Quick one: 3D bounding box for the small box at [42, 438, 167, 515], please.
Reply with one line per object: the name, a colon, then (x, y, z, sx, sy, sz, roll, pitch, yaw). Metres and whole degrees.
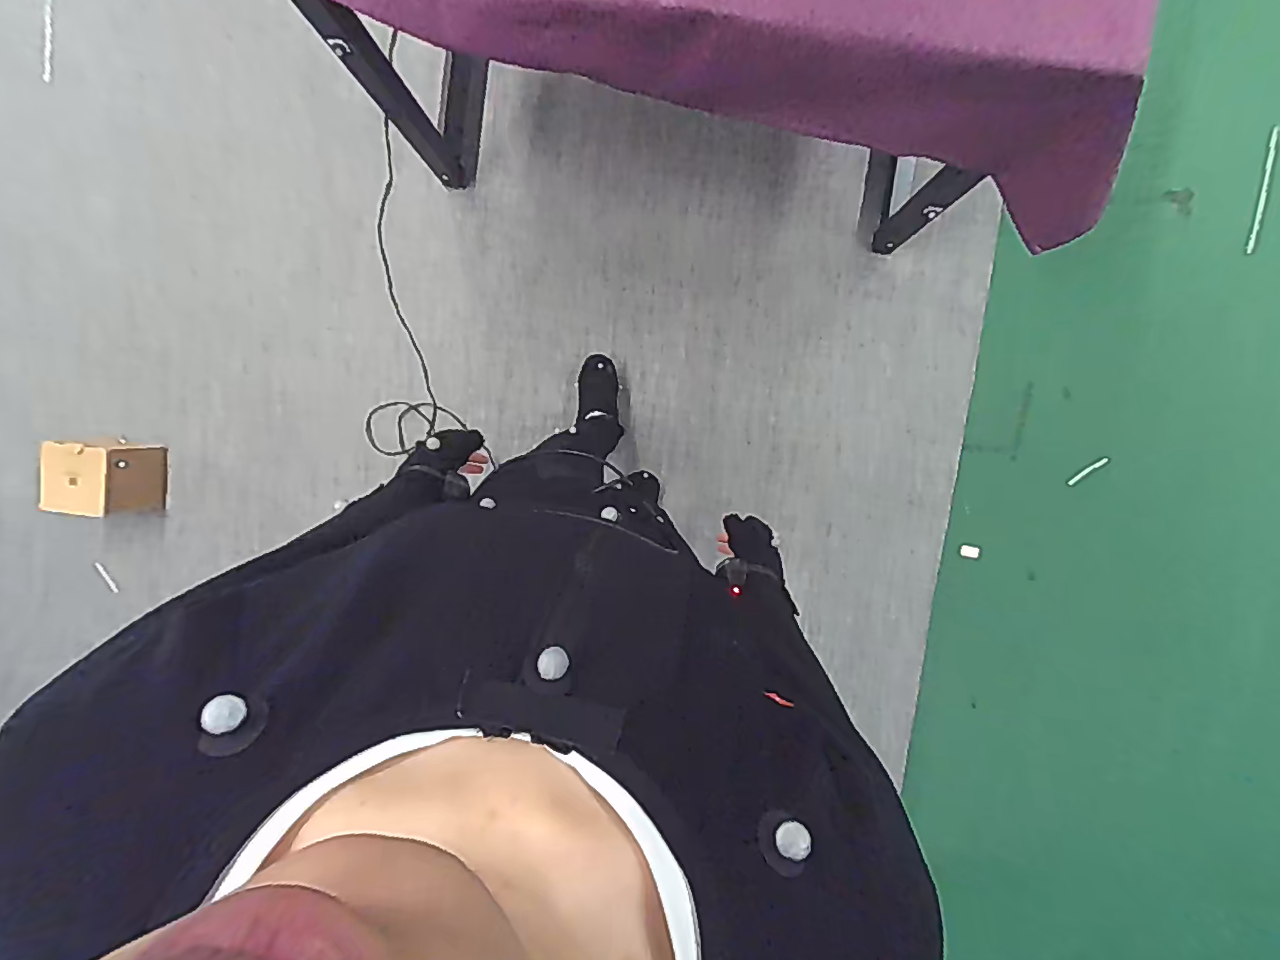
small box: (-1.390, -0.014, 1.413, 0.168, 0.176, 0.179, 7, 94, 0)
